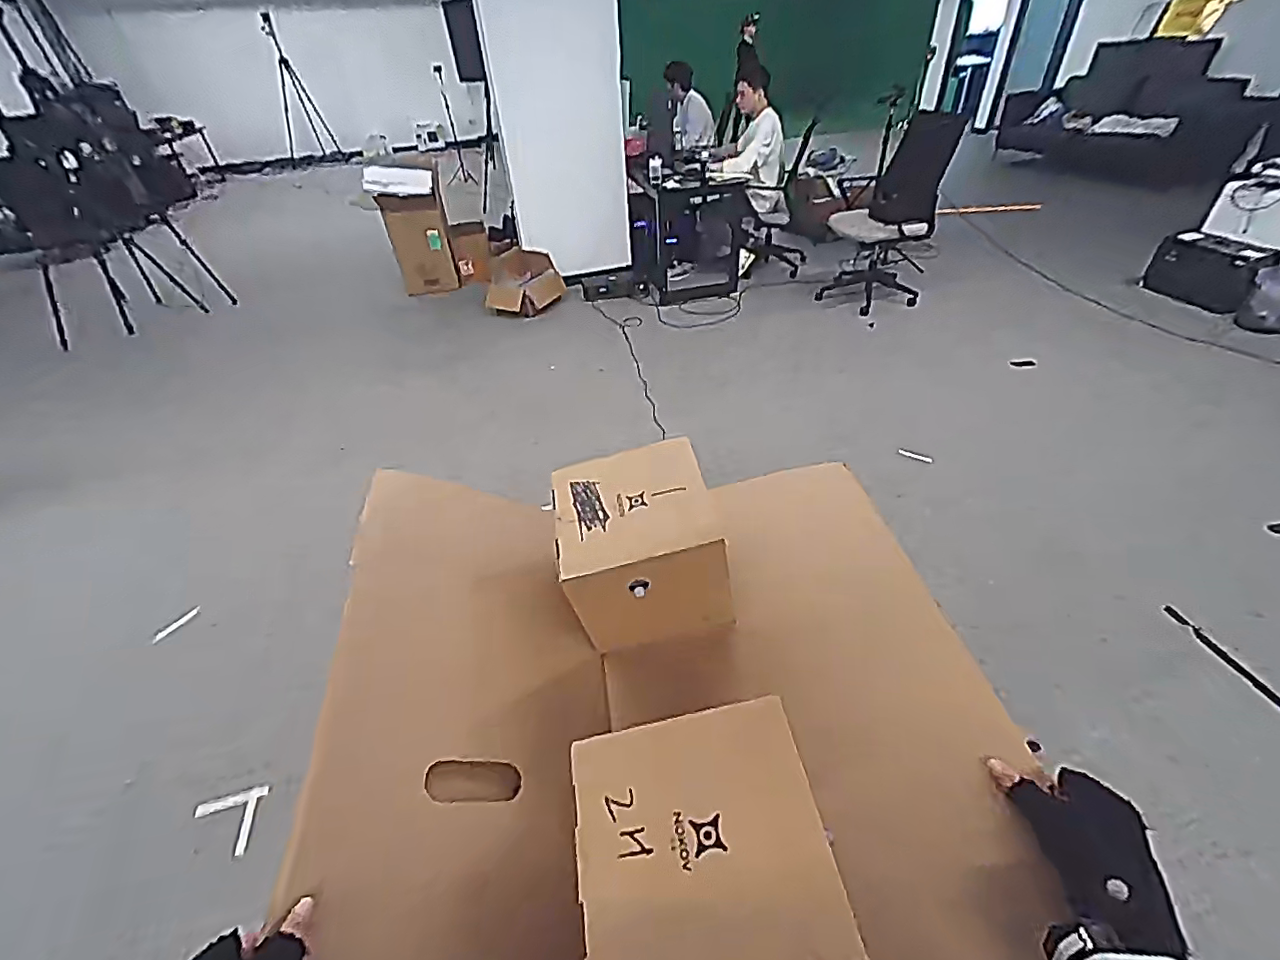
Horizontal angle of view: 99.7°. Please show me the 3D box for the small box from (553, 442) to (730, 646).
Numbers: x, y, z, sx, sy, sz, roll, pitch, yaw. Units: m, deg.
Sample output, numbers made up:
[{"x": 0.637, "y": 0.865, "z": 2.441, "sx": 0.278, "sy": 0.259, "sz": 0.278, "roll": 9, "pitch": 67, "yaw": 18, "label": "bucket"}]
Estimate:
[{"x": 0.002, "y": 0.085, "z": 0.676, "sx": 0.179, "sy": 0.176, "sz": 0.168, "roll": -15, "pitch": 46, "yaw": 1, "label": "small box"}]

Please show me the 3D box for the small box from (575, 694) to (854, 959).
[{"x": 0.056, "y": 0.306, "z": 0.453, "sx": 0.179, "sy": 0.176, "sz": 0.168, "roll": -14, "pitch": 46, "yaw": 3, "label": "small box"}]
